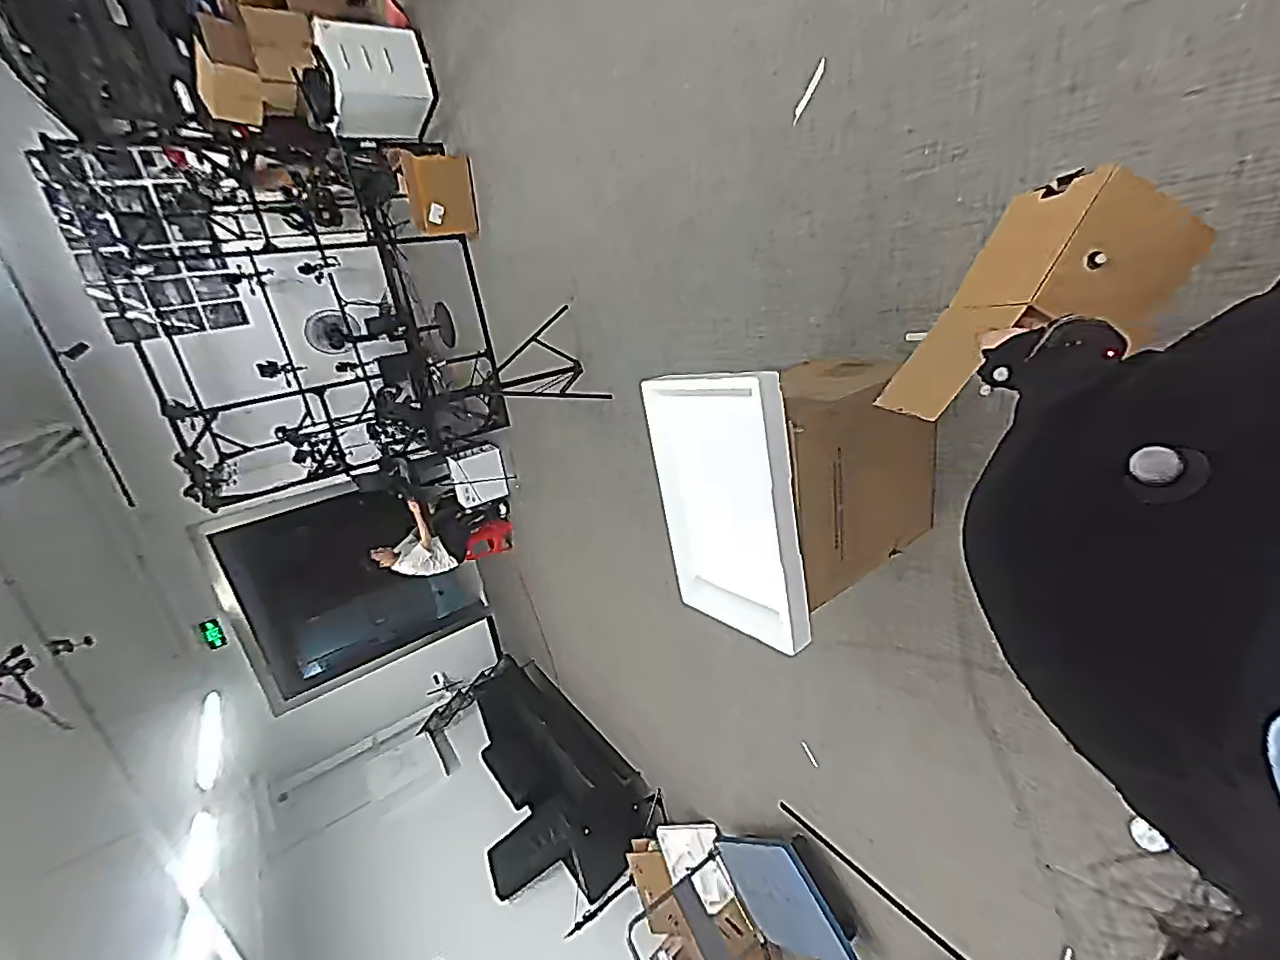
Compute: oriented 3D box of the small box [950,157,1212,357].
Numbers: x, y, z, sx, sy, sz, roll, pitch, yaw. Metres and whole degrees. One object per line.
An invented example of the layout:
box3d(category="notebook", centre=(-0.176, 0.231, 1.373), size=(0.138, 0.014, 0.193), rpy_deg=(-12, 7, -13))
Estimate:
box3d(category="small box", centre=(0.567, -0.276, 0.711), size=(0.179, 0.176, 0.168), rpy_deg=(-63, 10, 12))
